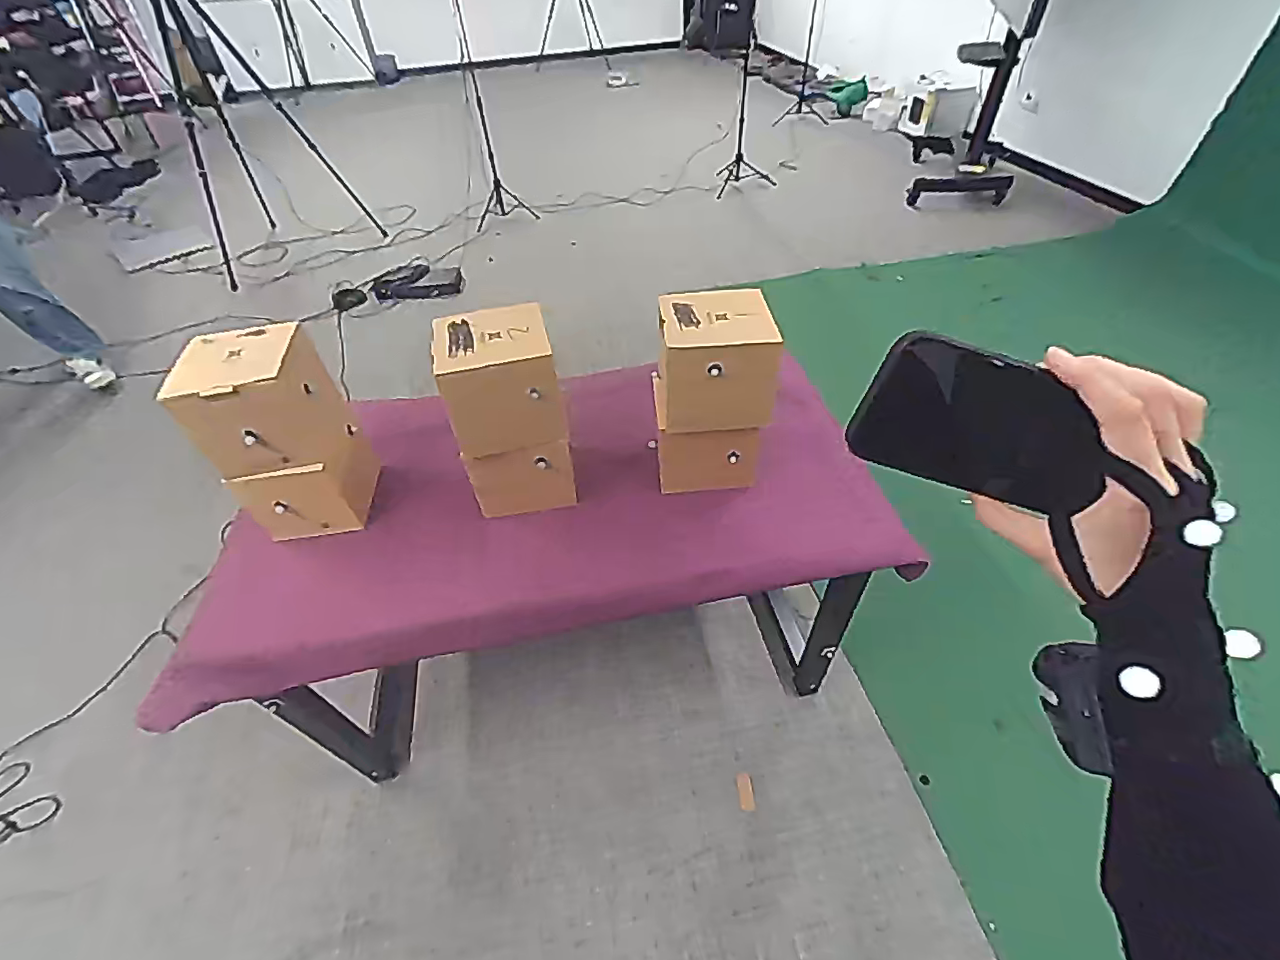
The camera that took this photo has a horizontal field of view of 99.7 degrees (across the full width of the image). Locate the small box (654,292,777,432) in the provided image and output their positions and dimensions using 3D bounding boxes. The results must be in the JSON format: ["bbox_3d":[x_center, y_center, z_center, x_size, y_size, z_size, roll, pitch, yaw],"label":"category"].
[{"bbox_3d":[0.118,-0.194,0.904,0.179,0.176,0.168,-3,46,0],"label":"small box"}]

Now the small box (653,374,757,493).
[{"bbox_3d":[0.115,-0.091,1.033,0.179,0.176,0.168,-4,46,1],"label":"small box"}]

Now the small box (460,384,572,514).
[{"bbox_3d":[-0.224,-0.056,1.018,0.179,0.176,0.168,-8,47,-4],"label":"small box"}]

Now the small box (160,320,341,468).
[{"bbox_3d":[-0.622,-0.136,0.894,0.168,0.176,0.179,-11,48,-8],"label":"small box"}]

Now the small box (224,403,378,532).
[{"bbox_3d":[-0.613,-0.017,1.007,0.168,0.176,0.179,-7,47,-3],"label":"small box"}]
